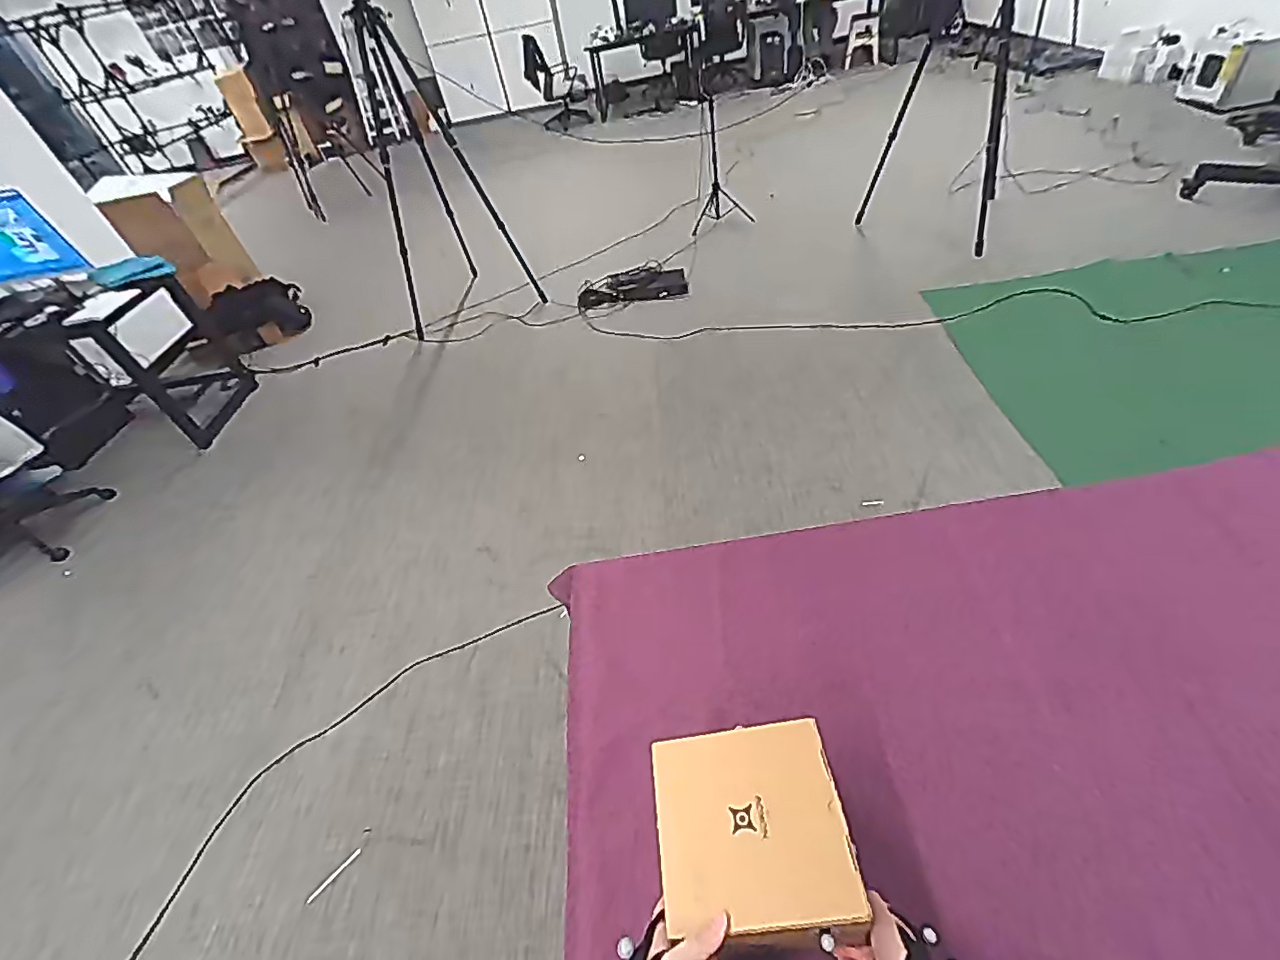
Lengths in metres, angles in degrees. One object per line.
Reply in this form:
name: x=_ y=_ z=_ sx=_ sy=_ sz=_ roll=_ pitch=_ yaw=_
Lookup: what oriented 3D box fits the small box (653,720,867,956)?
small box: x=0.121 y=0.379 z=0.569 sx=0.179 sy=0.176 sz=0.168 roll=-12 pitch=43 yaw=6
